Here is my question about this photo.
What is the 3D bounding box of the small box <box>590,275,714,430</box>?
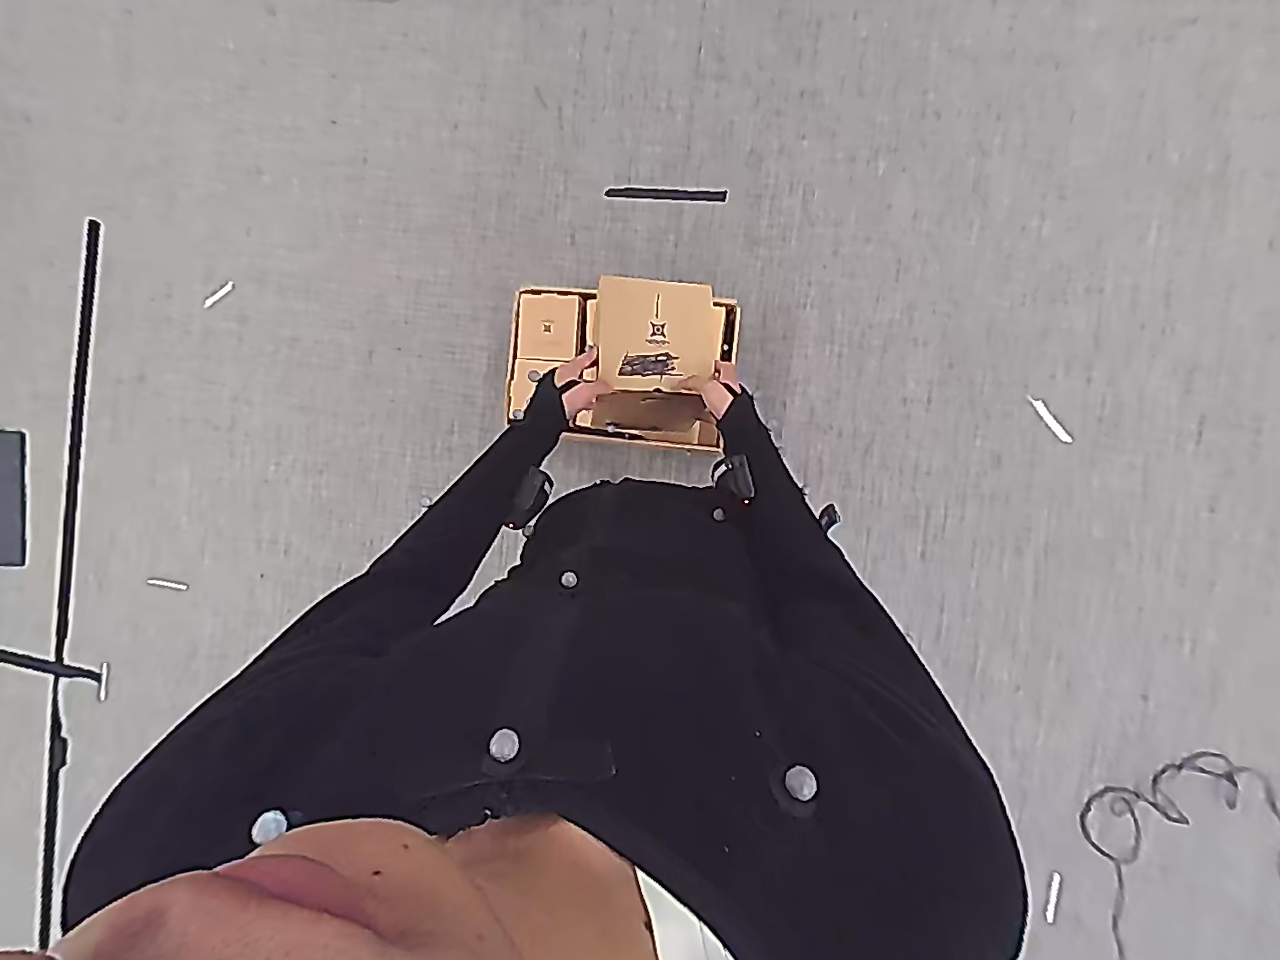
[{"bbox_3d":[0.012,-0.183,0.825,0.168,0.176,0.179,2,77,-9],"label":"small box"}]
